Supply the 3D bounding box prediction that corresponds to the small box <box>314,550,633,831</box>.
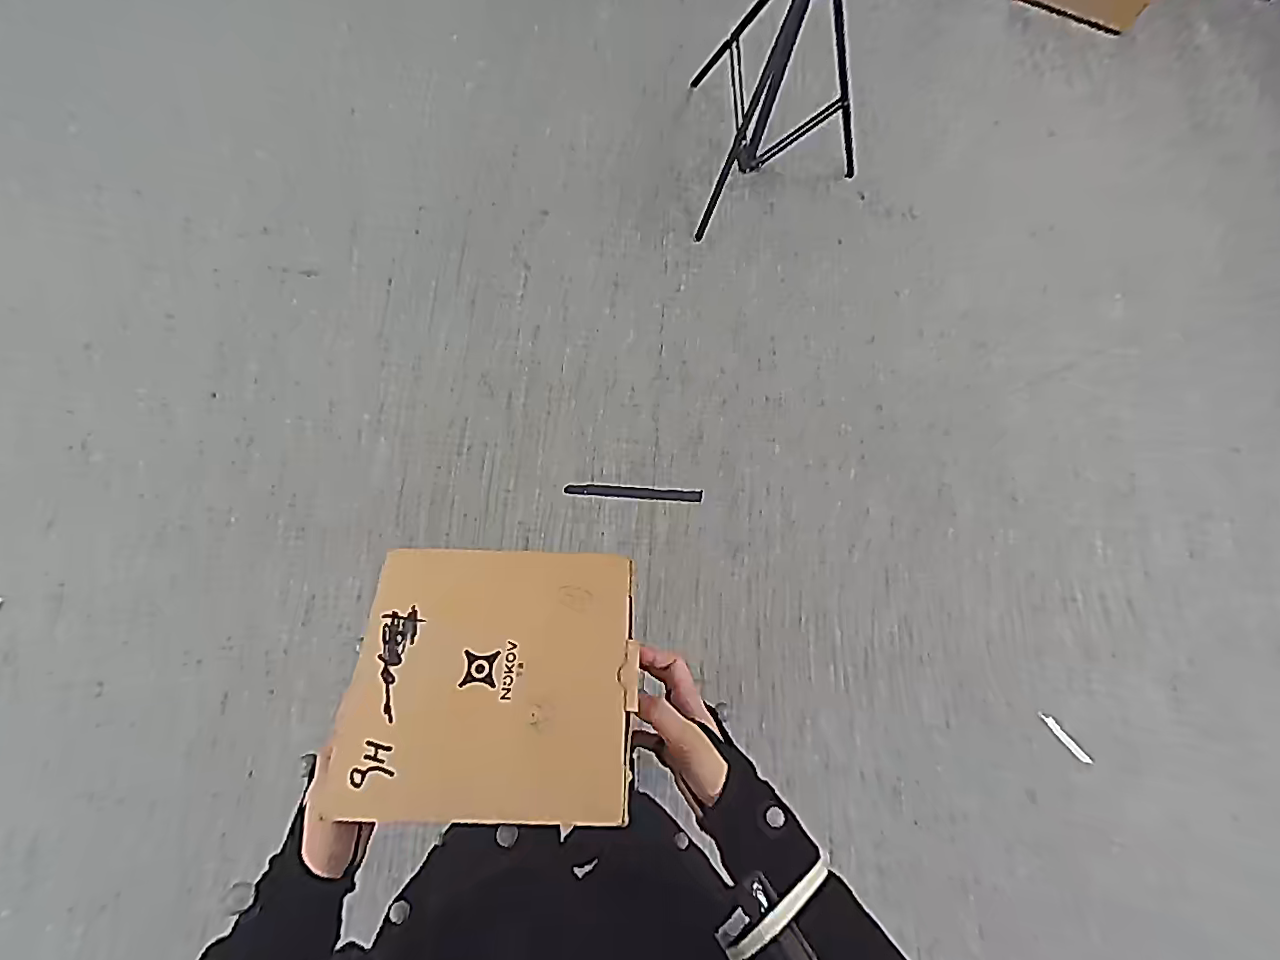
[{"bbox_3d":[-0.099,0.166,0.413,0.179,0.176,0.168,3,58,-2],"label":"small box"}]
